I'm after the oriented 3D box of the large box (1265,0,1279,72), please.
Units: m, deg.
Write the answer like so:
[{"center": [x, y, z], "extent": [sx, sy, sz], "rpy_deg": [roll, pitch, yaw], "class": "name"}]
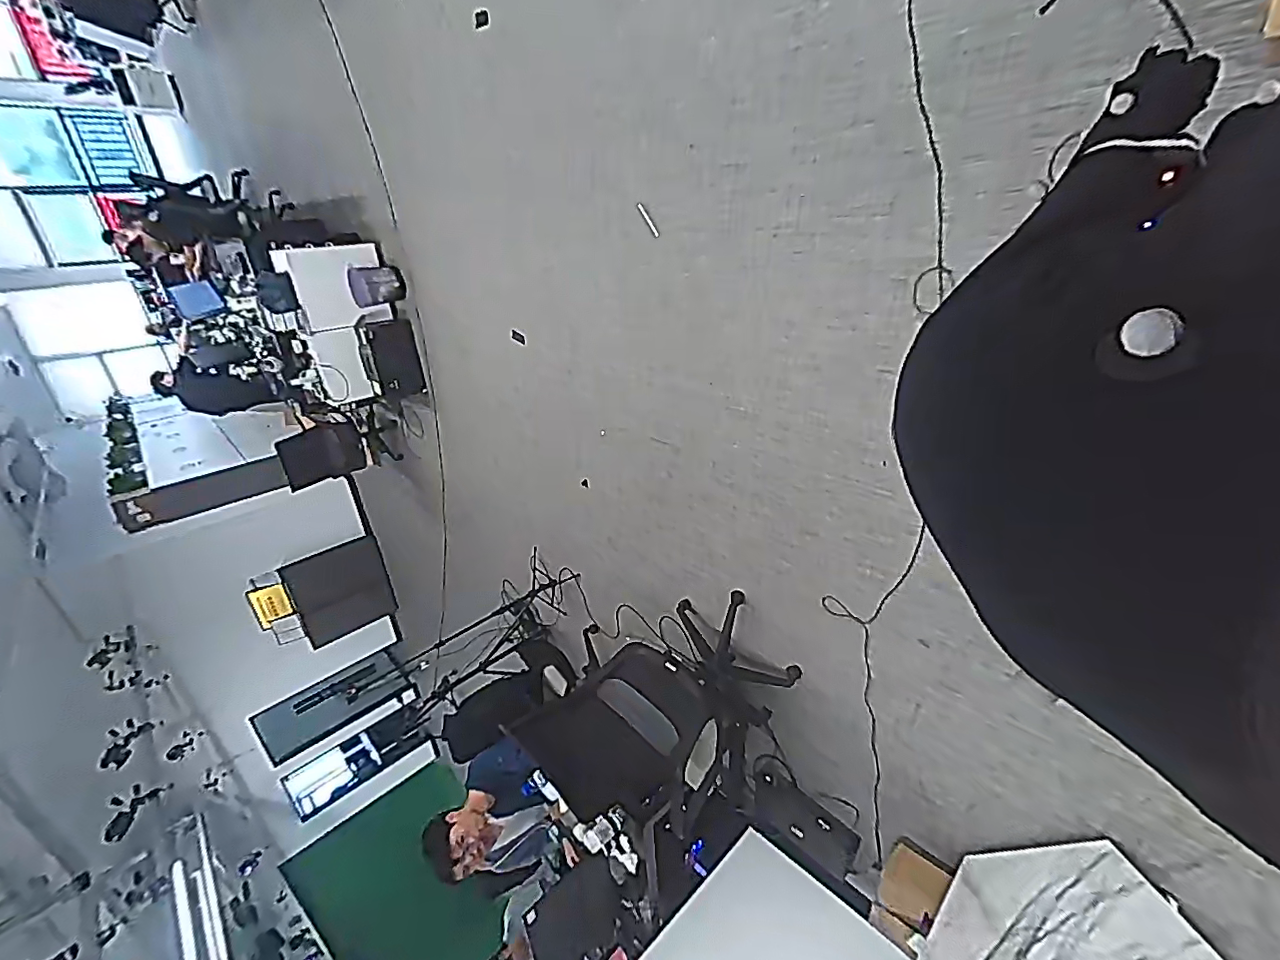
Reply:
[{"center": [1.036, -0.729, 0.607], "extent": [0.408, 0.320, 0.320], "rpy_deg": [14, 120, 45], "class": "large box"}]
